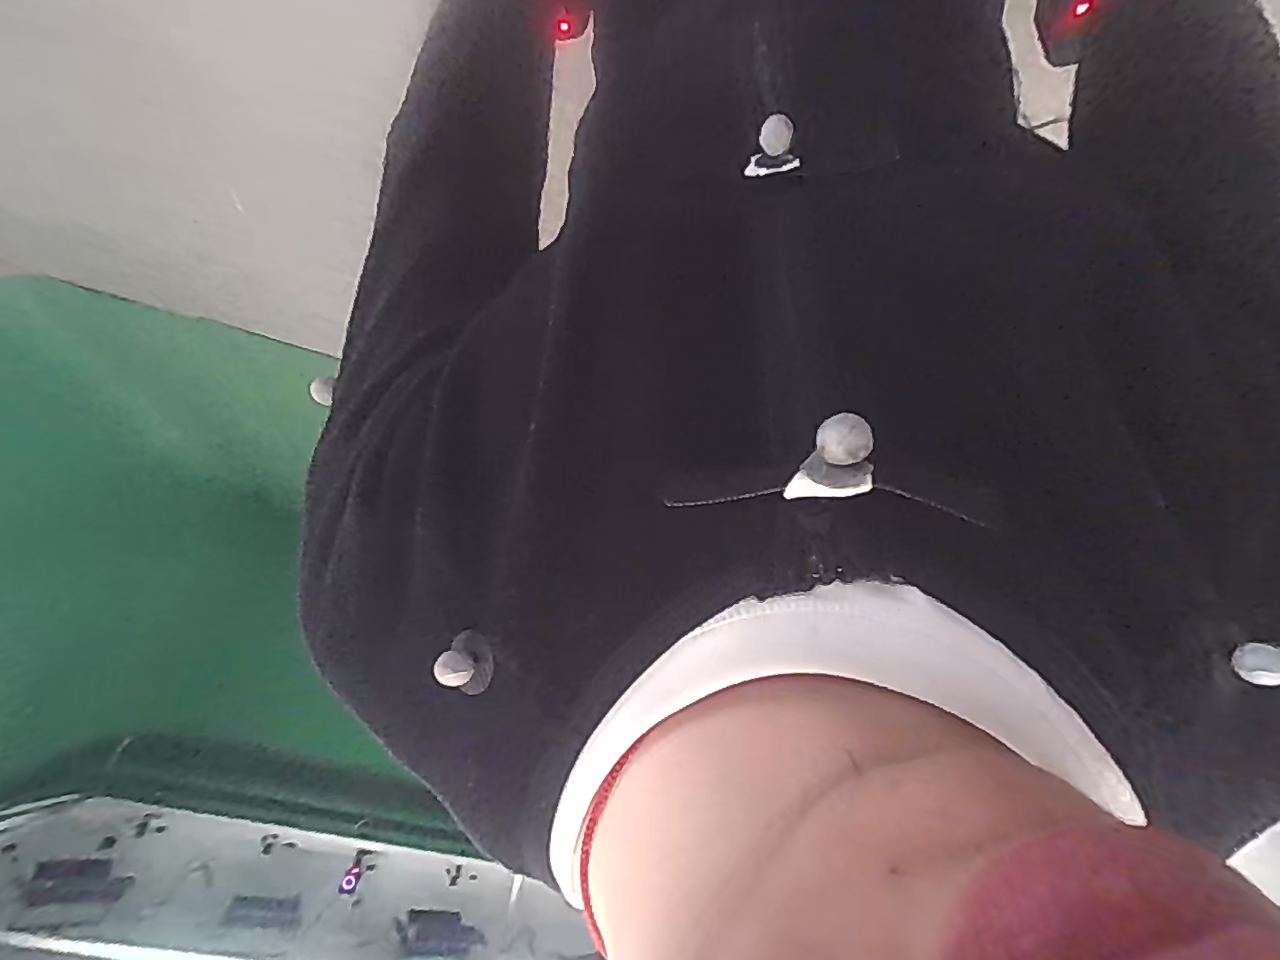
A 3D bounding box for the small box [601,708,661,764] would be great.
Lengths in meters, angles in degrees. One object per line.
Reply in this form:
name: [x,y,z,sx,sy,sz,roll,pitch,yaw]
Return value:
small box: [-0.033,1.011,2.140,0.179,0.176,0.168,19,153,-14]
